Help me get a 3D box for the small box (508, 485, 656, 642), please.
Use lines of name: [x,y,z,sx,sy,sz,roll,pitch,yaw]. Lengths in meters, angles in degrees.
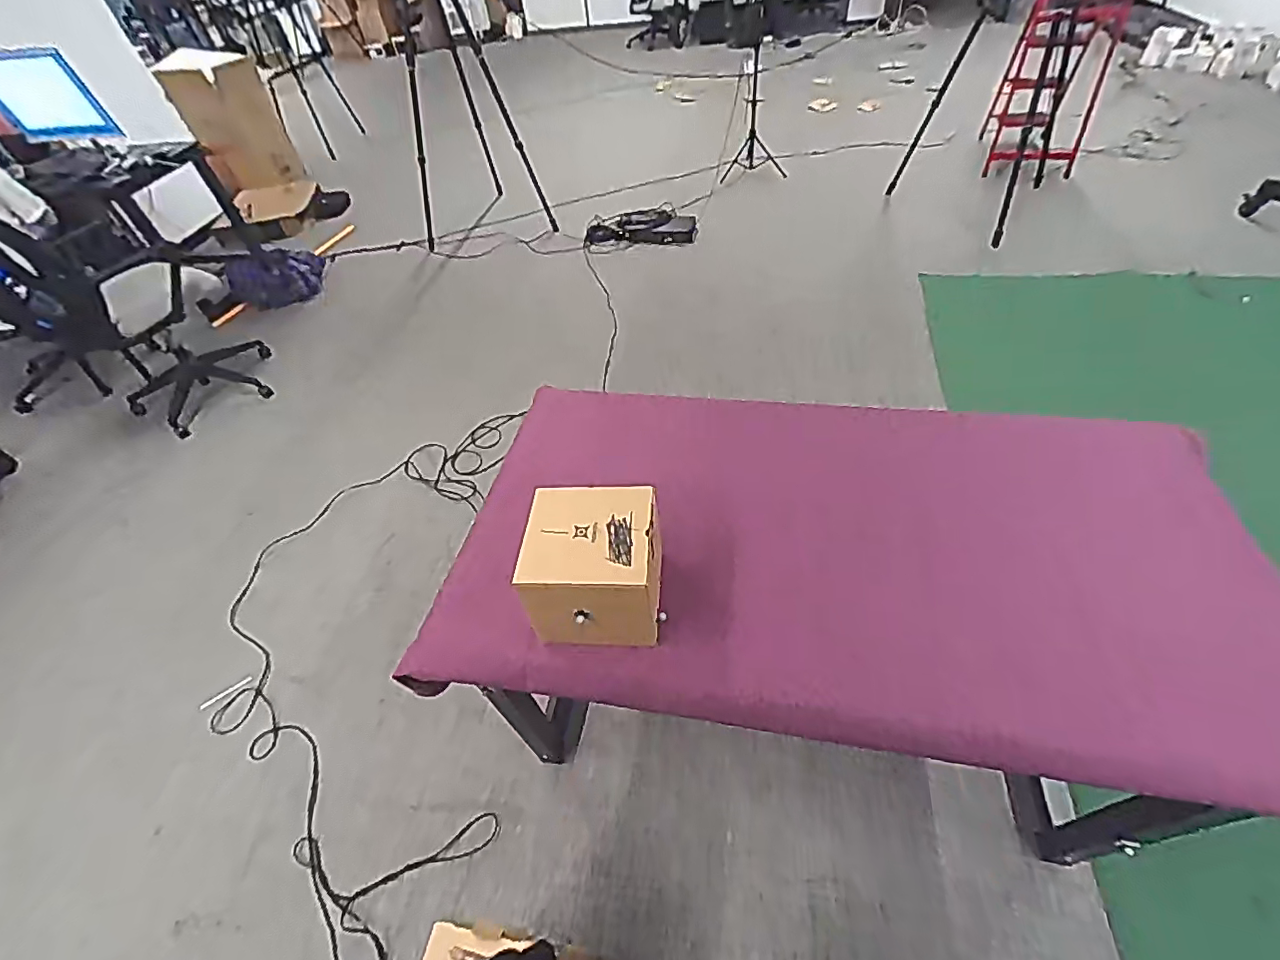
small box: [-0.070,0.124,0.791,0.179,0.176,0.168,0,48,7]
